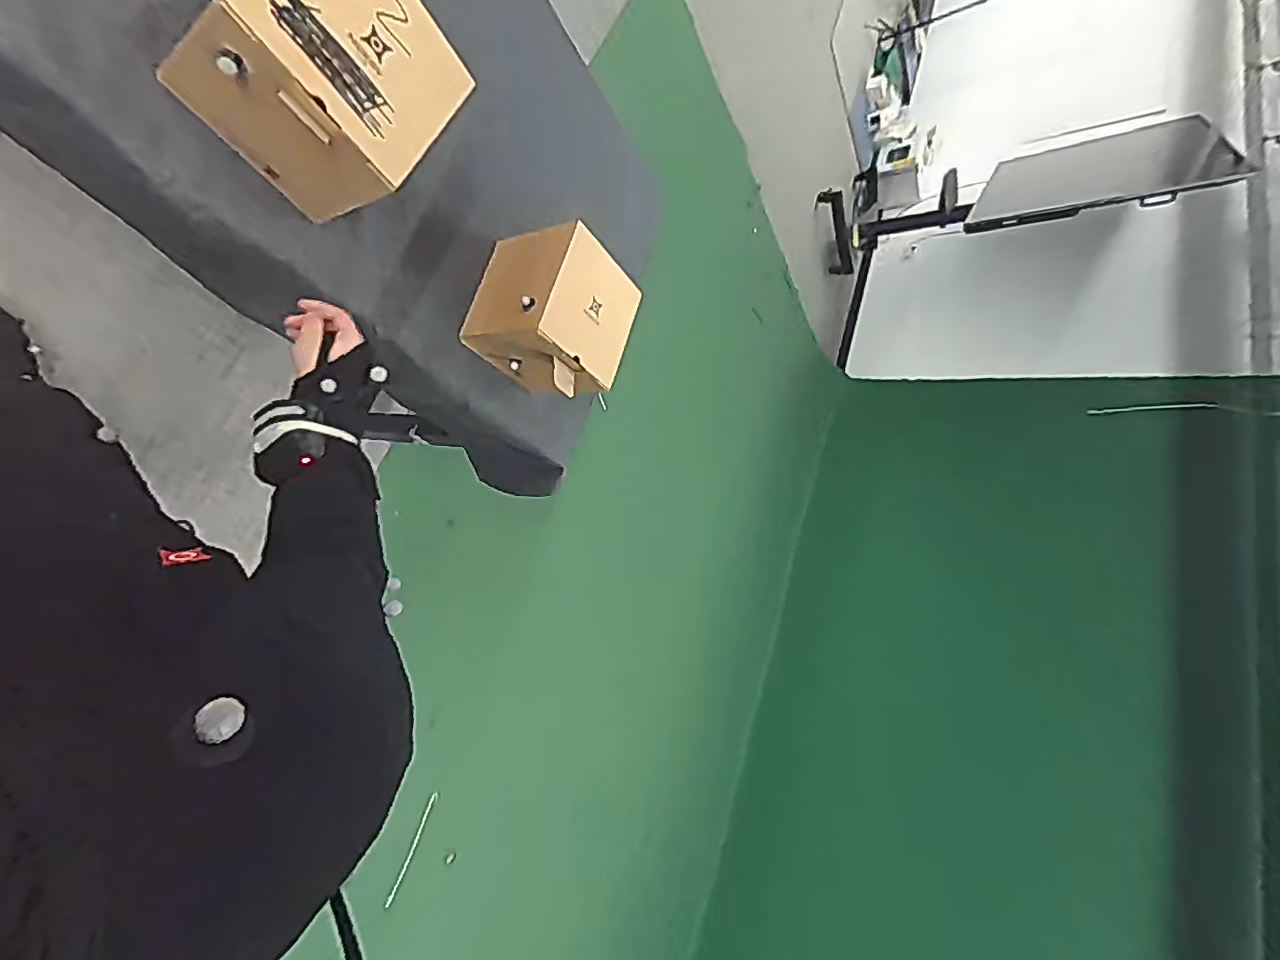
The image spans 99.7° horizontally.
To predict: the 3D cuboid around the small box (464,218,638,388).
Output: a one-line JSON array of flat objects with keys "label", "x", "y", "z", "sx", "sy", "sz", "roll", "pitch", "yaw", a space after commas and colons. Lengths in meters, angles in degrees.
[{"label": "small box", "x": -0.133, "y": -0.254, "z": 0.812, "sx": 0.168, "sy": 0.176, "sz": 0.179, "roll": 34, "pitch": 68, "yaw": -51}]
